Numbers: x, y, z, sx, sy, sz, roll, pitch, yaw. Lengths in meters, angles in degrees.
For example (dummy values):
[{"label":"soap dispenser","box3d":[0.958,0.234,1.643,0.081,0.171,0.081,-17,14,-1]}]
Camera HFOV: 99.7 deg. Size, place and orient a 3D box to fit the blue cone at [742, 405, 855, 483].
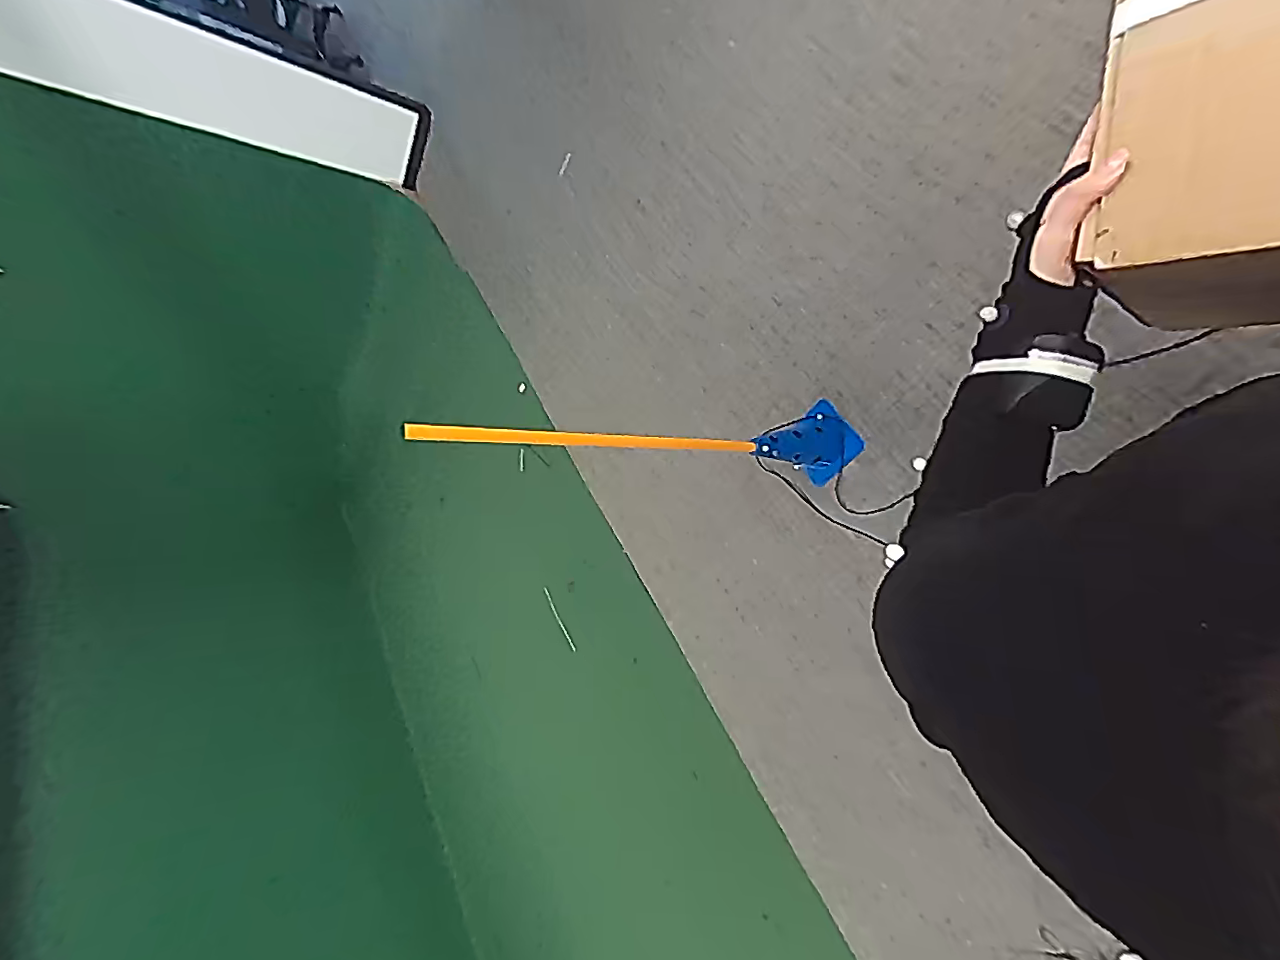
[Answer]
[{"label":"blue cone","box3d":[0.401,-0.096,1.492,0.192,0.380,0.193,-54,56,35]}]
